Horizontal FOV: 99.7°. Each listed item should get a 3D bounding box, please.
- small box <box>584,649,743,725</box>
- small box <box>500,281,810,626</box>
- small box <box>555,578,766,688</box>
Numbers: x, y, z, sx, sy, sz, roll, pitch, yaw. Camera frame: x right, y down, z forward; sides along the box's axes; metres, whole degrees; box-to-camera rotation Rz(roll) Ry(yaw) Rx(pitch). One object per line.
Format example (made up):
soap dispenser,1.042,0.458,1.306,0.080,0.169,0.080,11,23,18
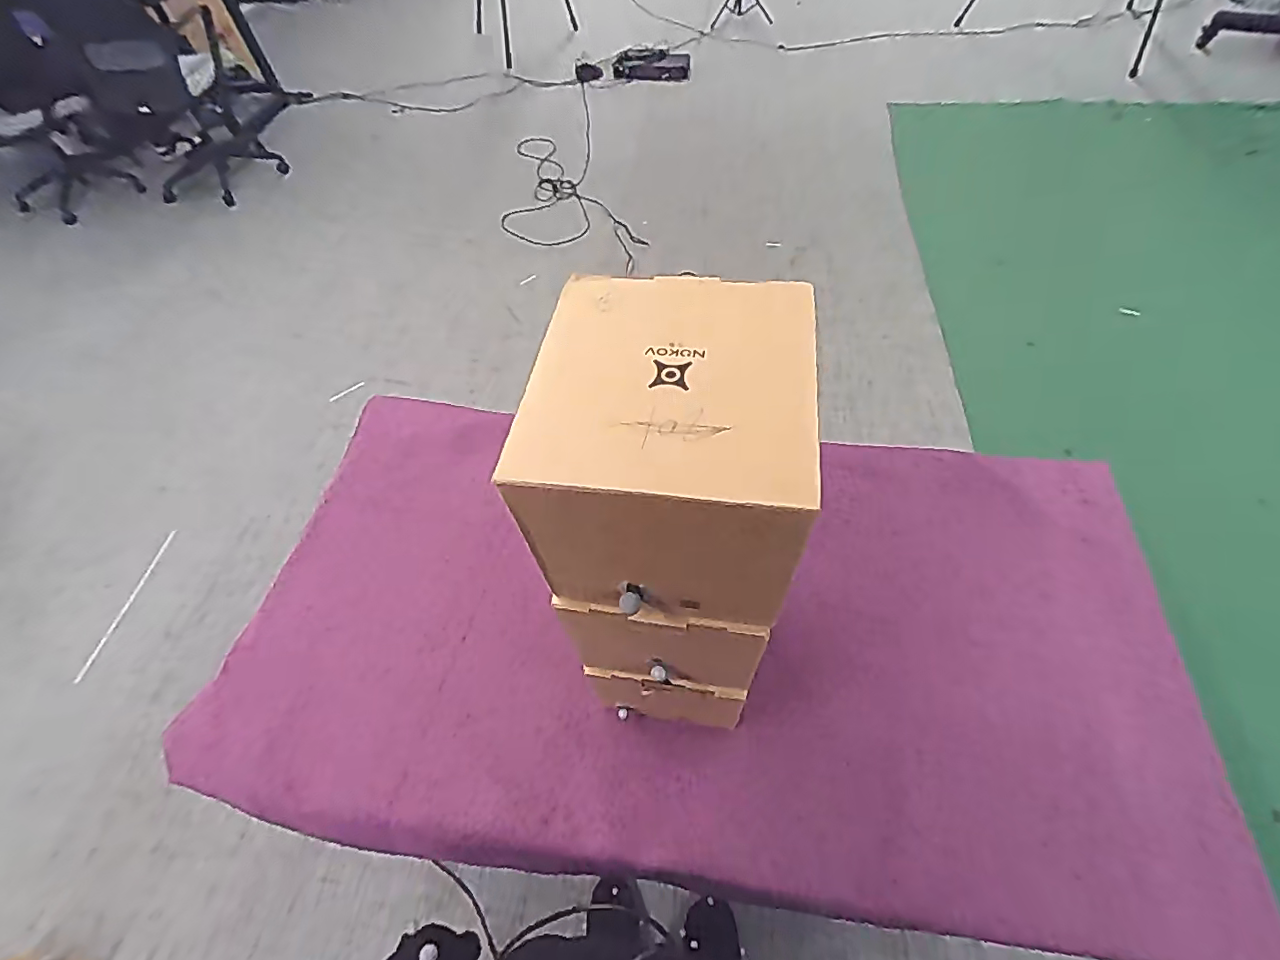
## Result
small box,0.042,0.180,0.651,0.168,0.176,0.179,6,56,8
small box,0.022,-0.016,0.389,0.168,0.176,0.179,5,56,9
small box,0.031,0.080,0.521,0.168,0.176,0.179,6,56,9
